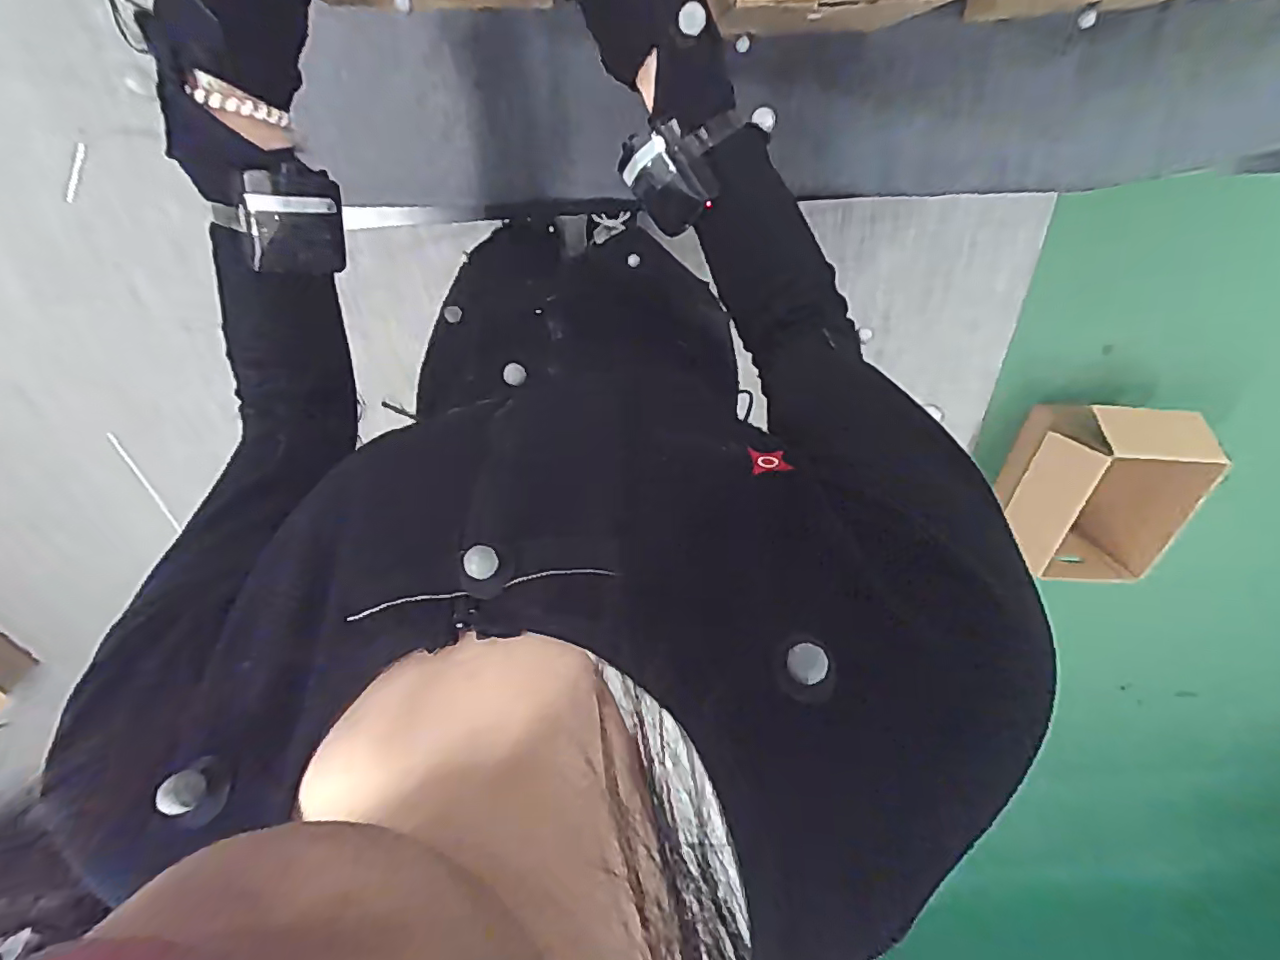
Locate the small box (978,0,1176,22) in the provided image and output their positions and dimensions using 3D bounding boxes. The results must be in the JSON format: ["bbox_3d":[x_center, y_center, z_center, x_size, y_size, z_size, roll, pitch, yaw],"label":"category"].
[{"bbox_3d":[0.387,-0.469,0.398,0.168,0.176,0.179,-4,123,1],"label":"small box"}]

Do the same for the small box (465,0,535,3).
[{"bbox_3d":[-0.132,-0.371,0.271,0.168,0.176,0.179,-4,125,-4],"label":"small box"}]

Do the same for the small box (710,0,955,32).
[{"bbox_3d":[0.145,-0.453,0.401,0.168,0.176,0.179,-3,123,0],"label":"small box"}]
